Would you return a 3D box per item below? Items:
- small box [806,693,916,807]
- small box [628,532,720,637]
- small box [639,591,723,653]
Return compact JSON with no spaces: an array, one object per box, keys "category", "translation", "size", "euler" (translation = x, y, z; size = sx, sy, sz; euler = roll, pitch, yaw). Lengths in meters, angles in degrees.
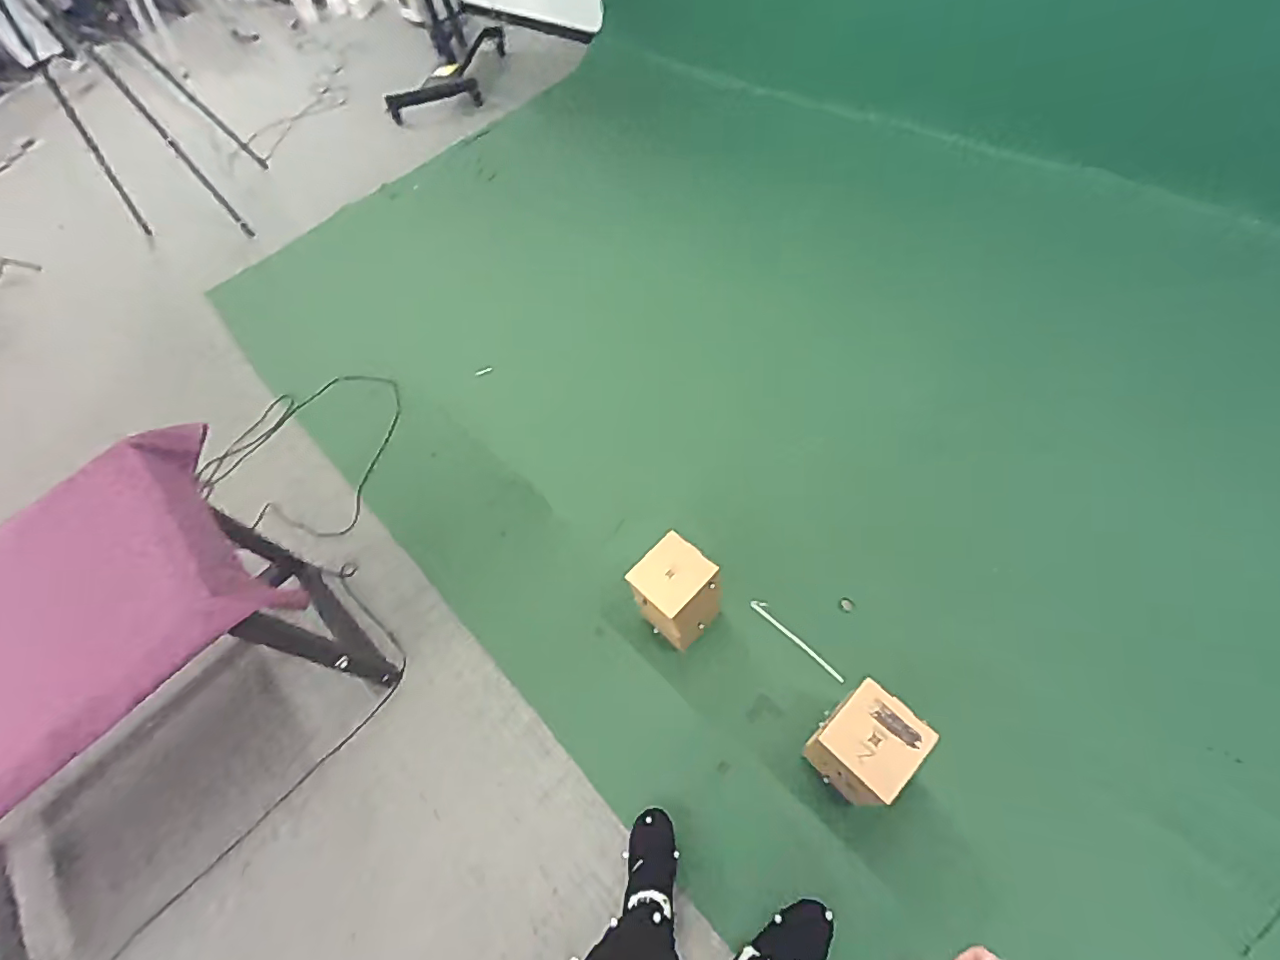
[{"category":"small box","translation":[0.516,0.646,1.291],"size":[0.179,0.176,0.168],"euler":[-41,60,-15]},{"category":"small box","translation":[0.098,0.277,1.406],"size":[0.179,0.176,0.168],"euler":[-43,60,-17]},{"category":"small box","translation":[0.121,0.360,1.542],"size":[0.179,0.176,0.168],"euler":[-43,60,-16]}]
